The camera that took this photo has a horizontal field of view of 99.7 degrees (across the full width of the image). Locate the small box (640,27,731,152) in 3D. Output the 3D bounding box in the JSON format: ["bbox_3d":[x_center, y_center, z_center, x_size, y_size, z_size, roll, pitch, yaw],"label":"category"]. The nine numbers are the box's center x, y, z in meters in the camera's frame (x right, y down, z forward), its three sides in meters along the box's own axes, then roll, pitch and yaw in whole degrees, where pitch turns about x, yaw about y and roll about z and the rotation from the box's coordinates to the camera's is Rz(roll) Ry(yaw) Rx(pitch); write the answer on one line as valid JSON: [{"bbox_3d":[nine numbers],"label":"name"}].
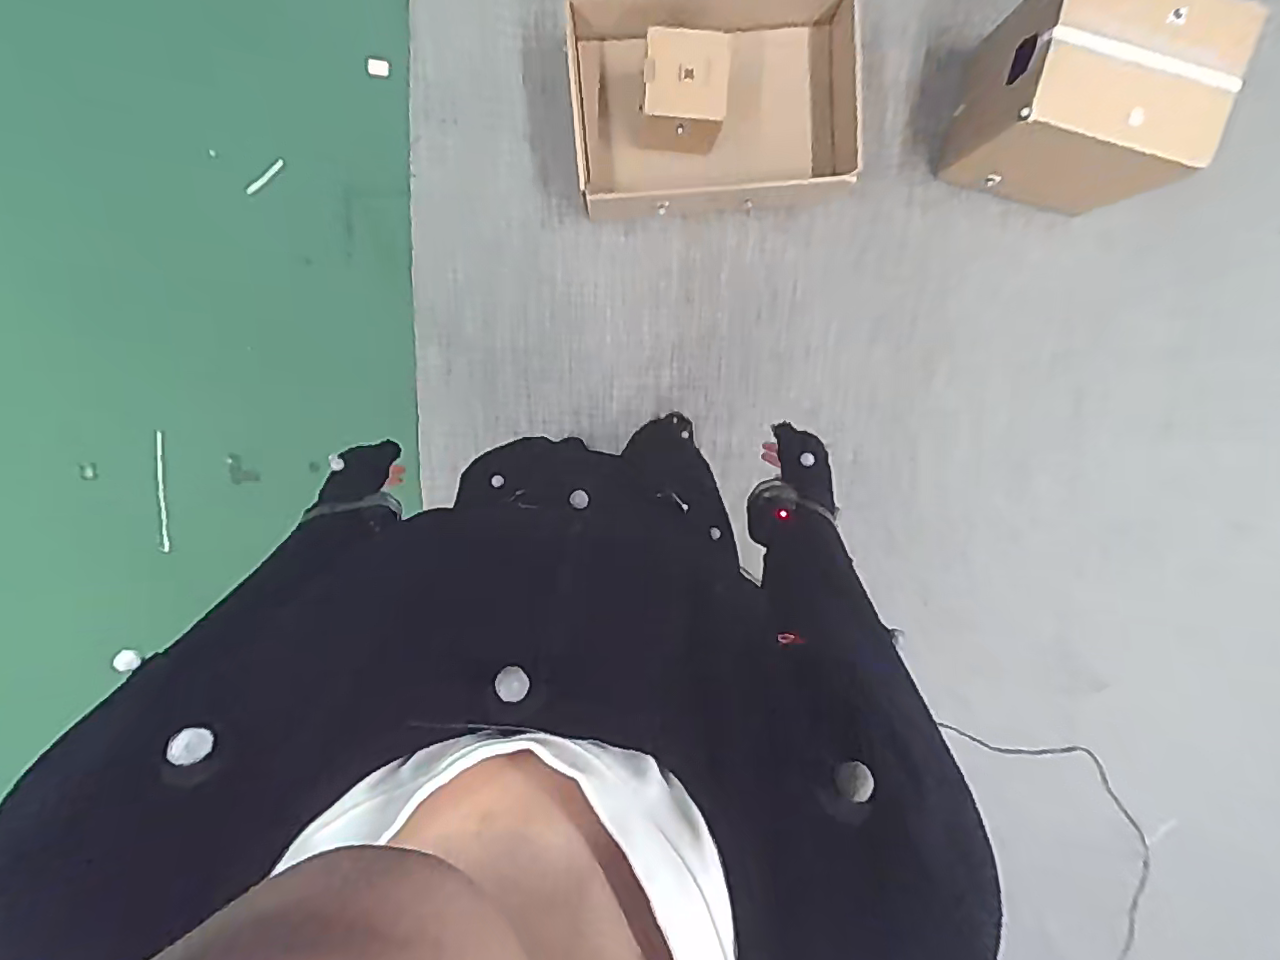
[{"bbox_3d":[0.092,-0.853,1.197,0.179,0.176,0.168,1,100,-5],"label":"small box"}]
